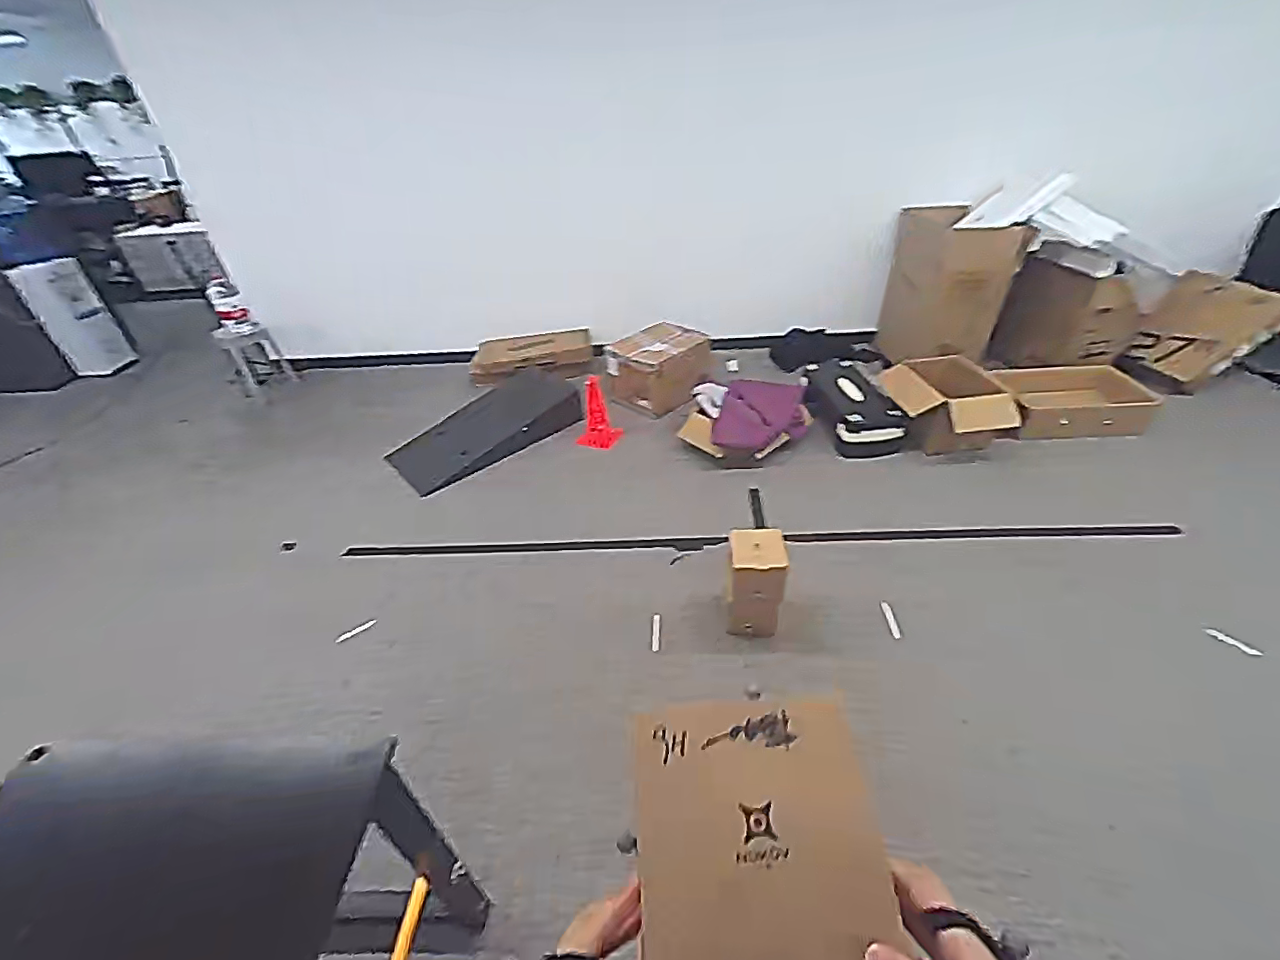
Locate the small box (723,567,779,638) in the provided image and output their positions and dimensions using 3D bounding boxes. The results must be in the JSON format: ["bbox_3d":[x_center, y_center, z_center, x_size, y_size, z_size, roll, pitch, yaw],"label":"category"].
[{"bbox_3d":[0.372,0.417,1.847,0.168,0.176,0.179,-2,37,5],"label":"small box"}]

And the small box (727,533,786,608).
[{"bbox_3d":[0.368,0.289,1.742,0.168,0.176,0.179,-2,36,5],"label":"small box"}]
